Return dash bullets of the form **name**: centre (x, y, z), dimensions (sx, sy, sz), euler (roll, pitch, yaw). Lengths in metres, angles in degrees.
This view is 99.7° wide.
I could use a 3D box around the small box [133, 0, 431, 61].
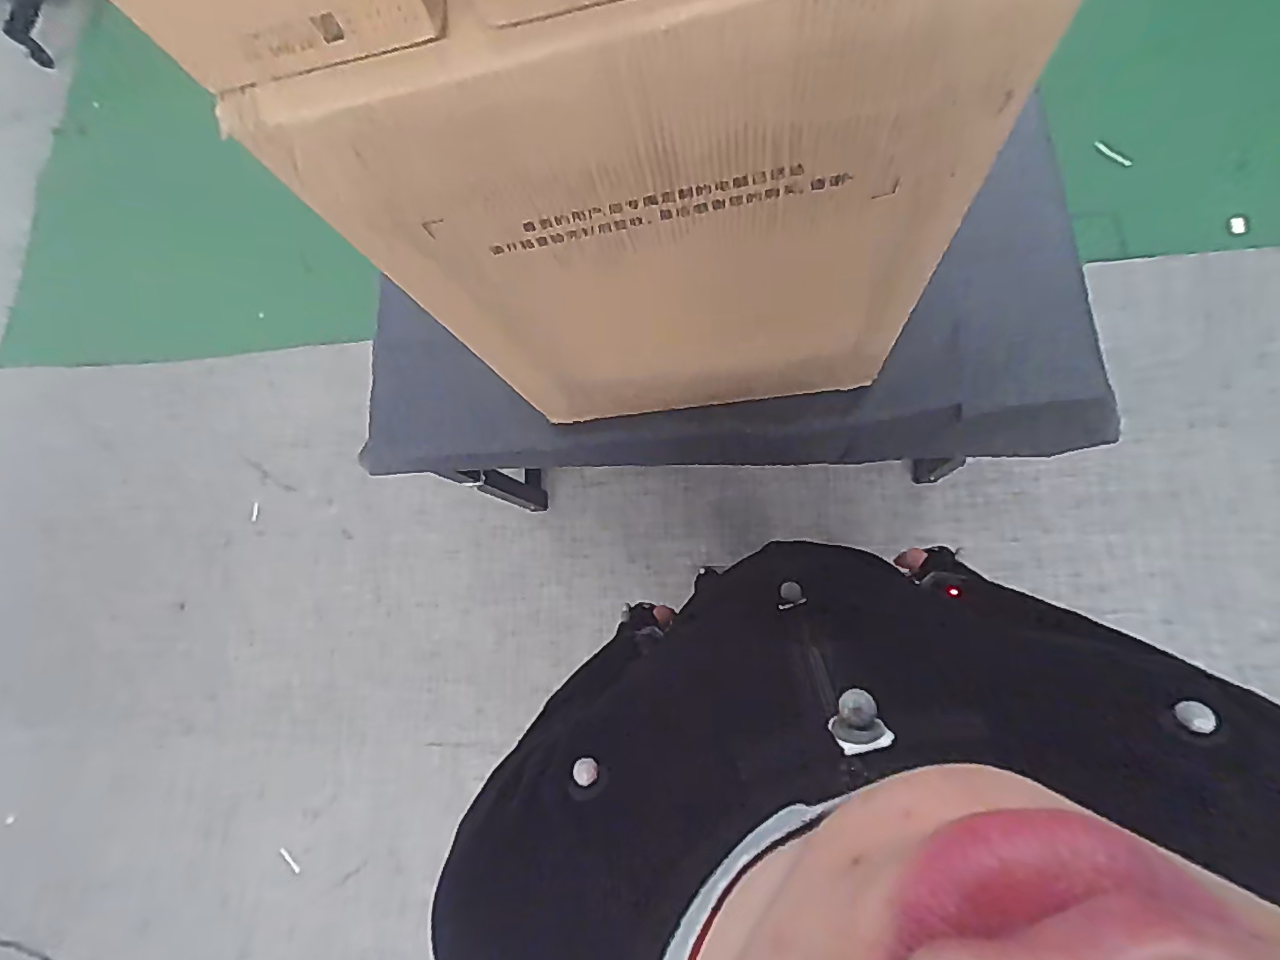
- **small box**: centre (-0.215, -0.355, 0.270), dimensions (0.168, 0.176, 0.179), euler (-5, 78, 10)
